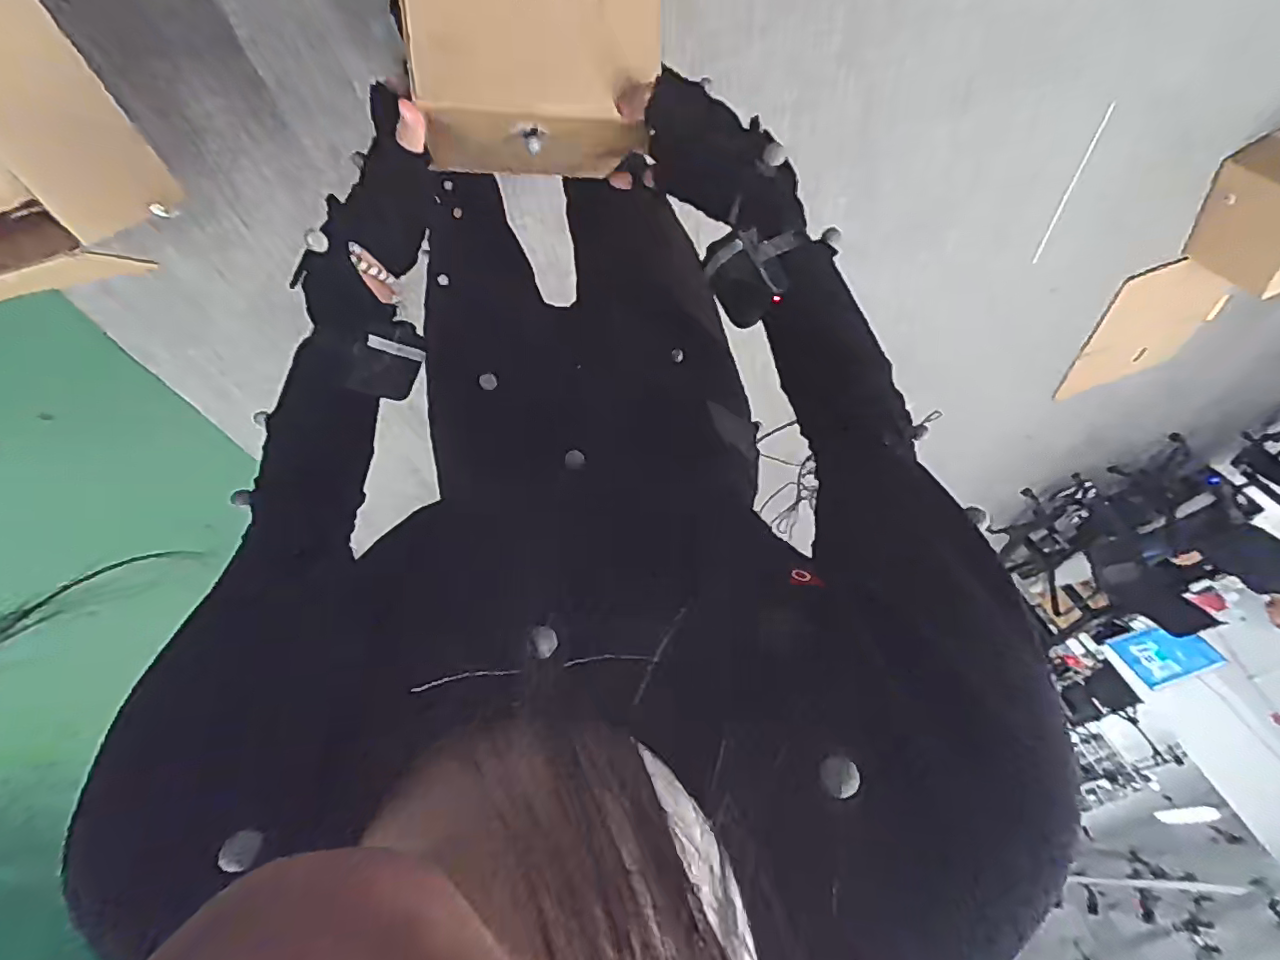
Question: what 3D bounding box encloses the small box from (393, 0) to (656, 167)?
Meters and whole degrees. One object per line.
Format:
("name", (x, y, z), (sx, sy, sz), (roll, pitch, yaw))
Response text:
("small box", (-0.098, -0.363, 0.430), (0.179, 0.176, 0.168), (-8, 108, -17))
